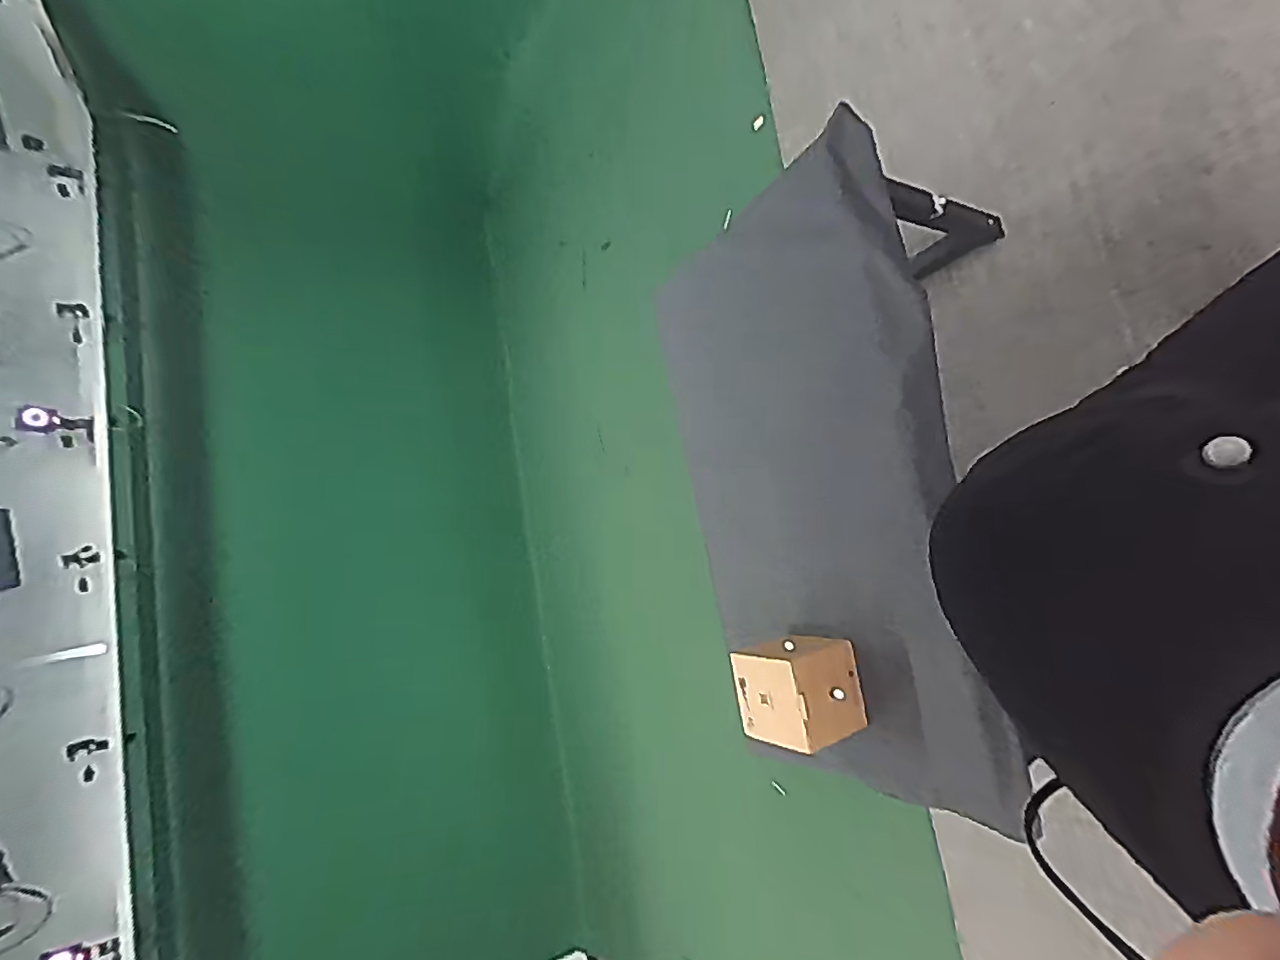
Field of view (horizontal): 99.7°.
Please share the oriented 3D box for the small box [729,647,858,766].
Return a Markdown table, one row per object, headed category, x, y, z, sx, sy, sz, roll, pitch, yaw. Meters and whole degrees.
| category | x | y | z | sx | sy | sz | roll | pitch | yaw |
| --- | --- | --- | --- | --- | --- | --- | --- | --- | --- |
| small box | 0.307 | 0.434 | 1.070 | 0.179 | 0.176 | 0.168 | -20 | 76 | 56 |
